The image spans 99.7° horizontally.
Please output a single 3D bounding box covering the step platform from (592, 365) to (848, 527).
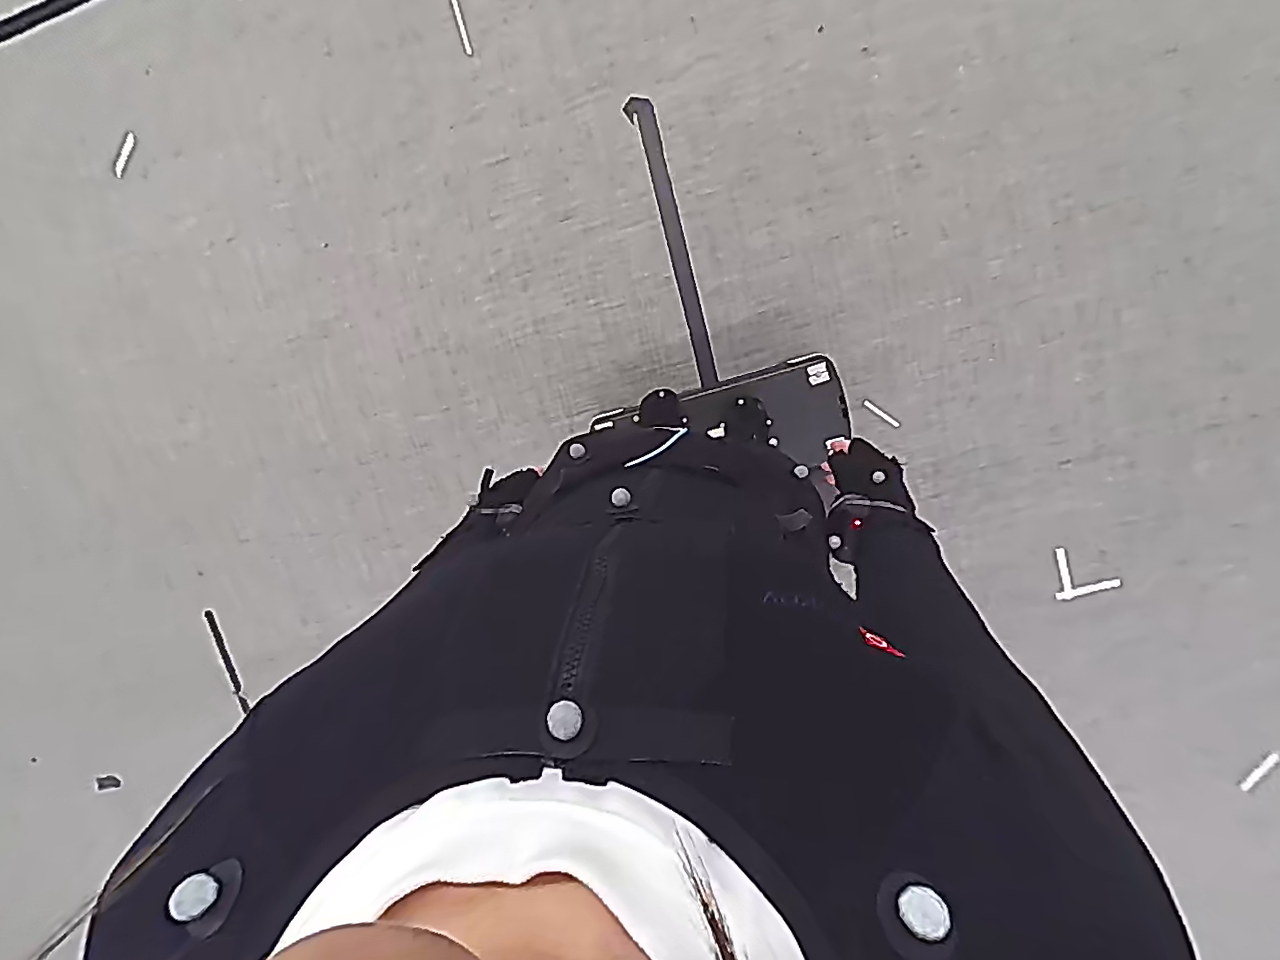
[{"bbox_3d":[0.212,-0.092,1.505,0.684,0.204,0.286,-16,99,7],"label":"step platform"}]
